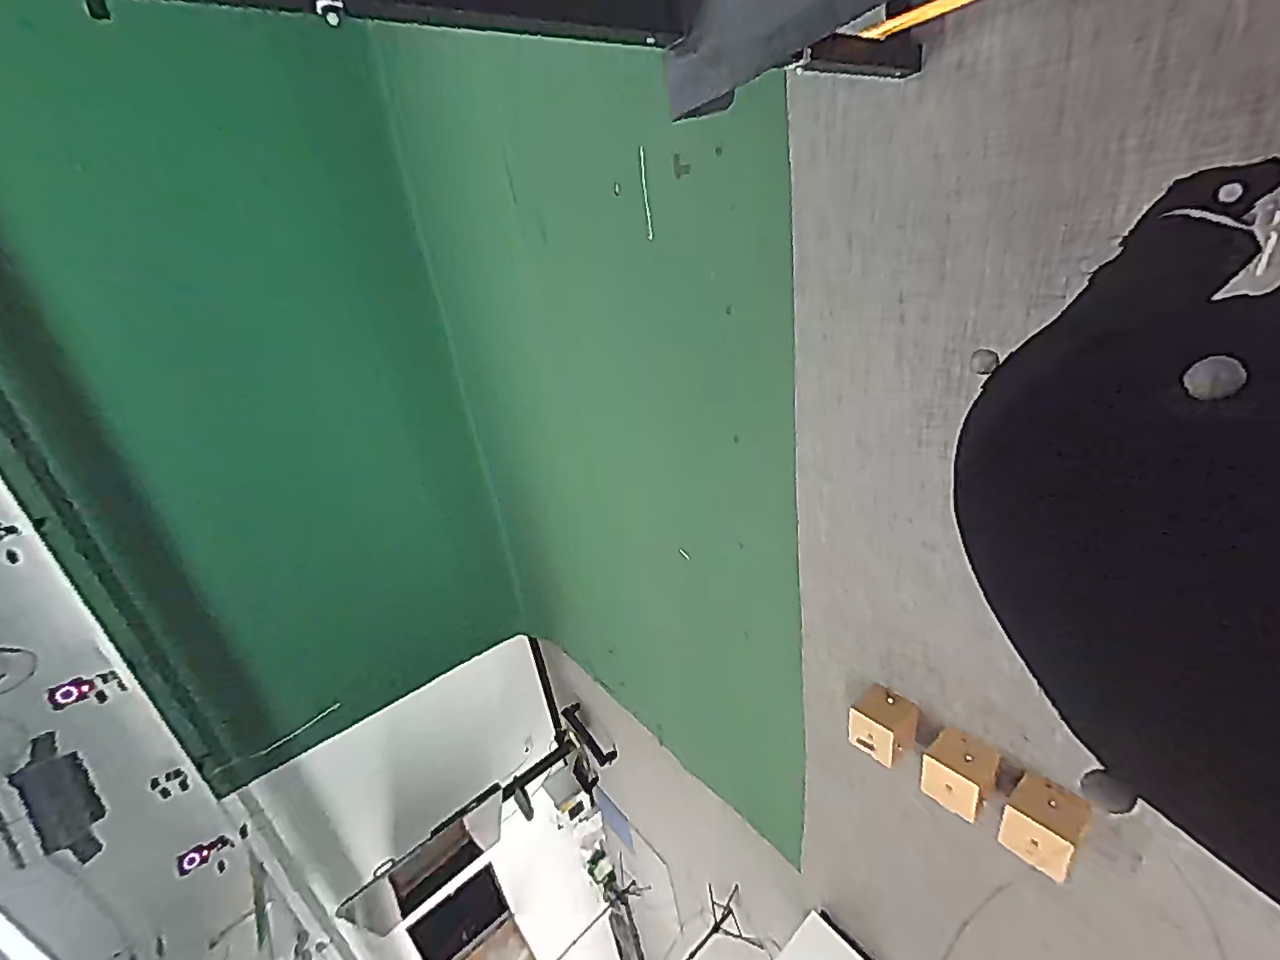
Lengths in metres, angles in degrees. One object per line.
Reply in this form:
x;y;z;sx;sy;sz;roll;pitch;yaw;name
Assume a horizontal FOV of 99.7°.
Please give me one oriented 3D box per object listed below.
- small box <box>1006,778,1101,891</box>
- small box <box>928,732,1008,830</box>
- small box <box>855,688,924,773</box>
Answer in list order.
1.195;1.013;1.562;0.168;0.176;0.179;22;127;49;small box
1.054;0.957;1.737;0.168;0.176;0.179;20;126;50;small box
0.891;0.890;1.933;0.168;0.176;0.179;20;125;49;small box
